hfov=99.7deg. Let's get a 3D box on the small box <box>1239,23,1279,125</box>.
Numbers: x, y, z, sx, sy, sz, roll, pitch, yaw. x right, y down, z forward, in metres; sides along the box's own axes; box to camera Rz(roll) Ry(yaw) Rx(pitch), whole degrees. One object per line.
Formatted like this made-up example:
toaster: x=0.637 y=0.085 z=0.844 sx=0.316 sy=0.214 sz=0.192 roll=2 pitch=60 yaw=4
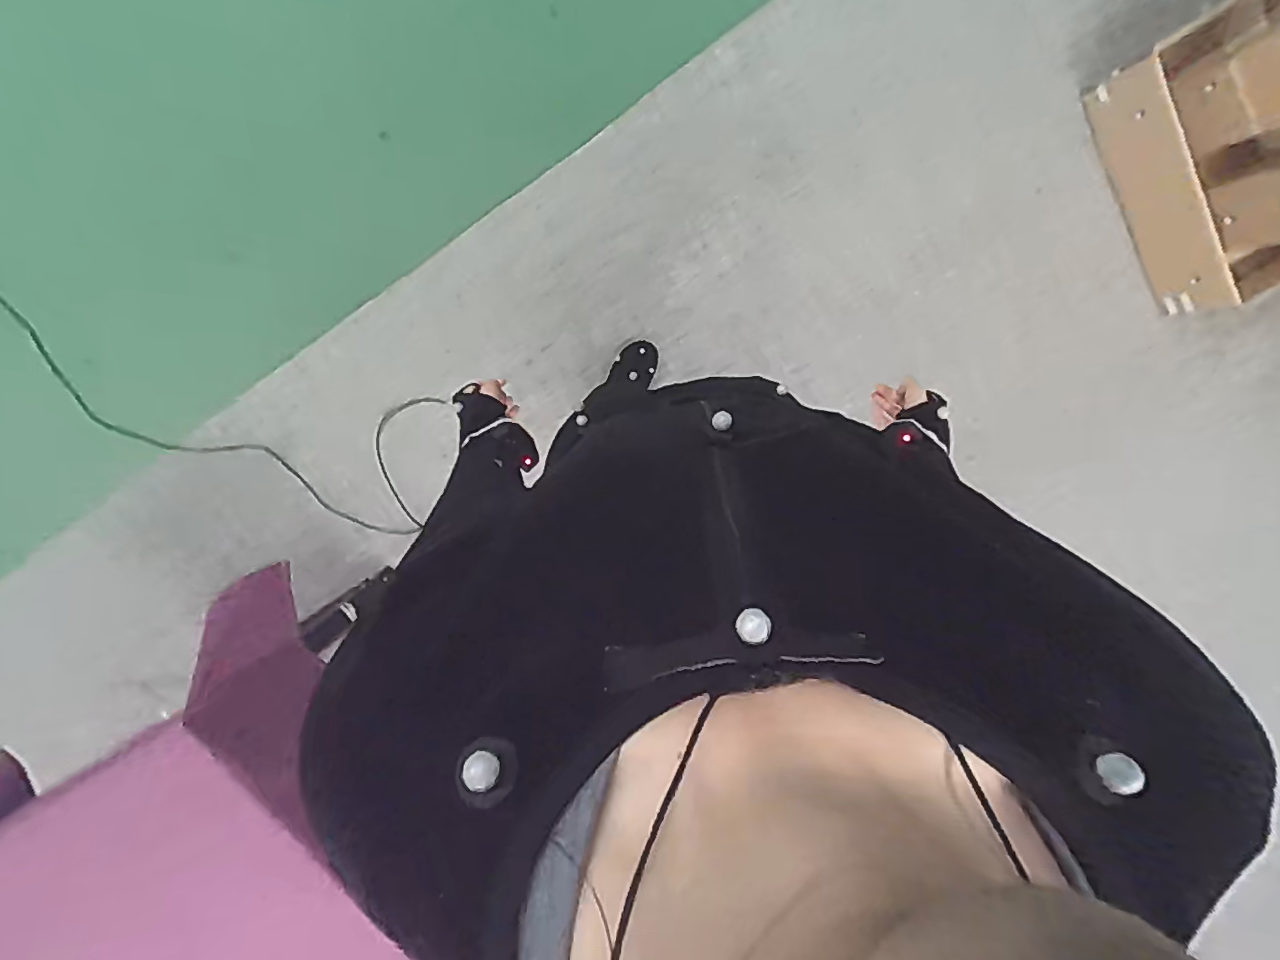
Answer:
small box: x=1.328 y=-0.832 z=1.034 sx=0.168 sy=0.176 sz=0.179 roll=-33 pitch=102 yaw=7
